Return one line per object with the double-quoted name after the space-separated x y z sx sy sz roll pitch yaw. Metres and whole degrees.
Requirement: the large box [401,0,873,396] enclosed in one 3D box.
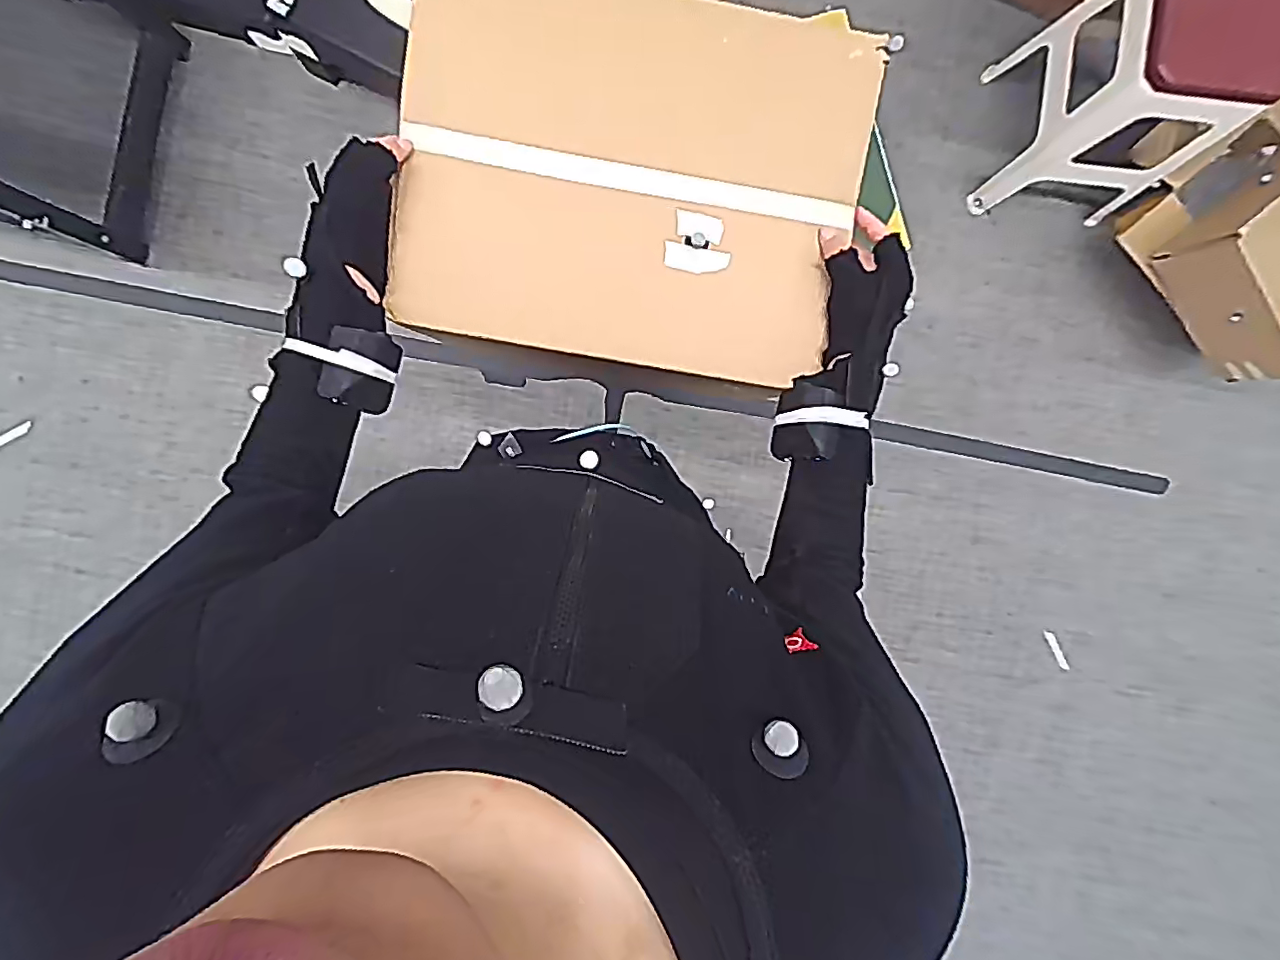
-0.014 -0.286 0.643 0.408 0.320 0.320 9 97 -4 "large box"
